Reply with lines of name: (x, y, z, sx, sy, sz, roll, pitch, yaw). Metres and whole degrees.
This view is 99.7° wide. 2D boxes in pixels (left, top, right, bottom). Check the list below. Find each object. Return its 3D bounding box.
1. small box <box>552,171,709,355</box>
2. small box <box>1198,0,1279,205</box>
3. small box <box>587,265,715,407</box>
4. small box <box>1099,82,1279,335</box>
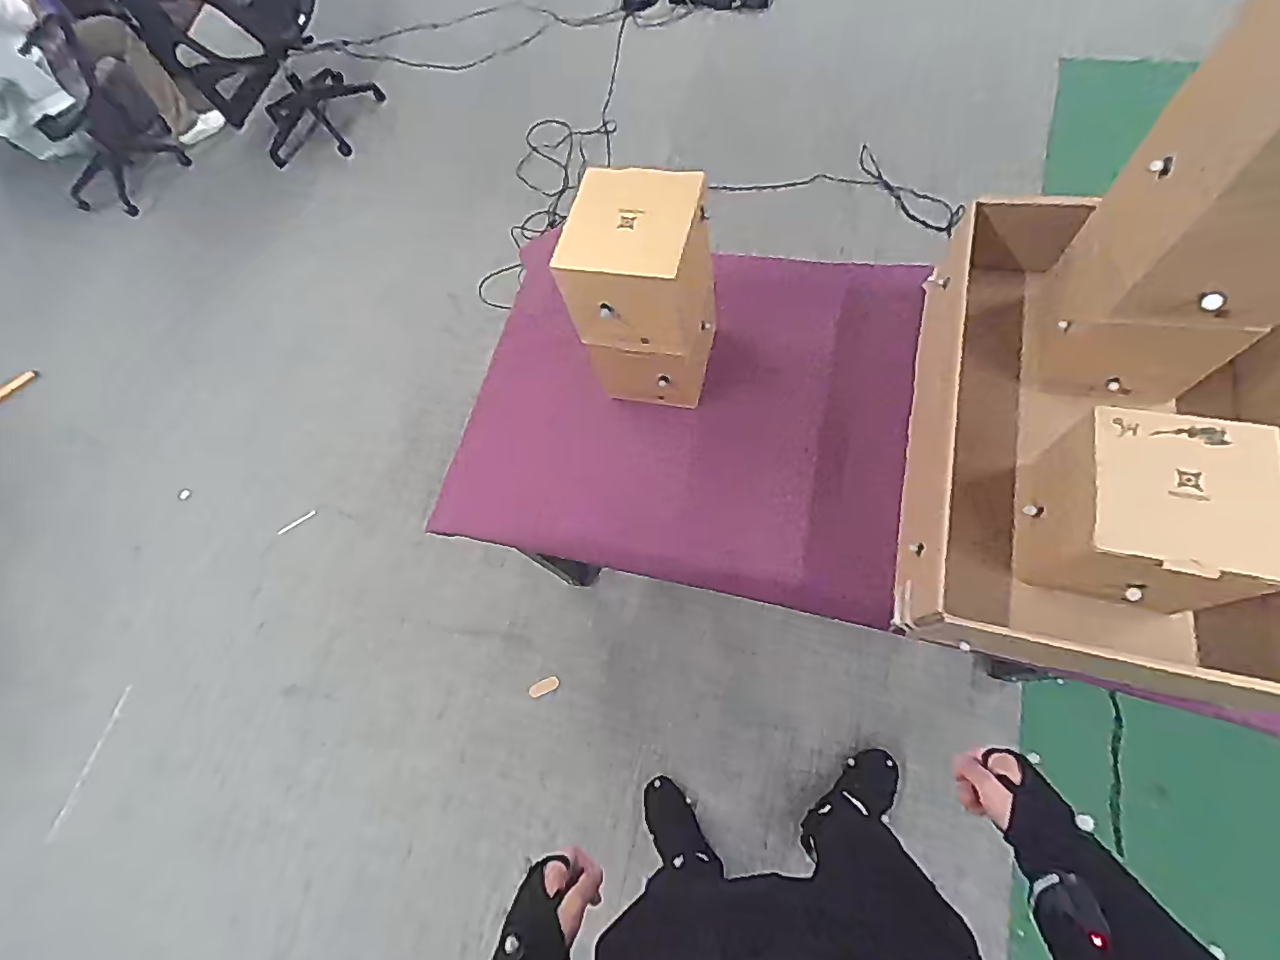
small box: (0.000, -0.298, 0.762, 0.168, 0.176, 0.179, 11, 70, 14)
small box: (0.595, -0.337, 0.420, 0.168, 0.176, 0.179, 10, 72, 15)
small box: (0.030, -0.242, 0.911, 0.168, 0.176, 0.179, 11, 71, 14)
small box: (0.627, -0.281, 0.573, 0.168, 0.176, 0.179, 9, 72, 16)
